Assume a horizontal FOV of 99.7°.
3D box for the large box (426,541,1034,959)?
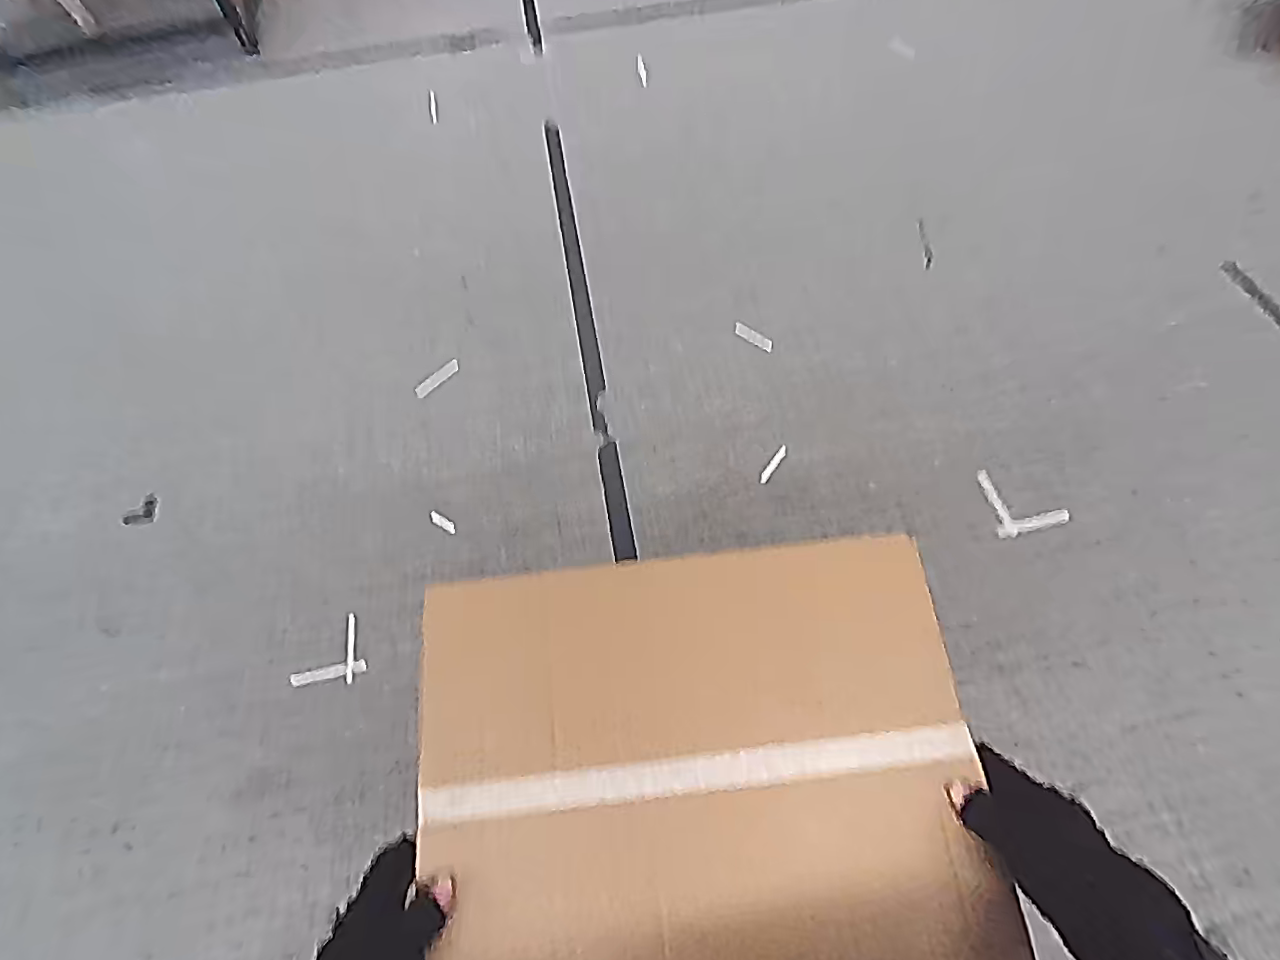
[{"bbox_3d":[0.050,0.266,0.531,0.408,0.320,0.320,-7,70,0],"label":"large box"}]
